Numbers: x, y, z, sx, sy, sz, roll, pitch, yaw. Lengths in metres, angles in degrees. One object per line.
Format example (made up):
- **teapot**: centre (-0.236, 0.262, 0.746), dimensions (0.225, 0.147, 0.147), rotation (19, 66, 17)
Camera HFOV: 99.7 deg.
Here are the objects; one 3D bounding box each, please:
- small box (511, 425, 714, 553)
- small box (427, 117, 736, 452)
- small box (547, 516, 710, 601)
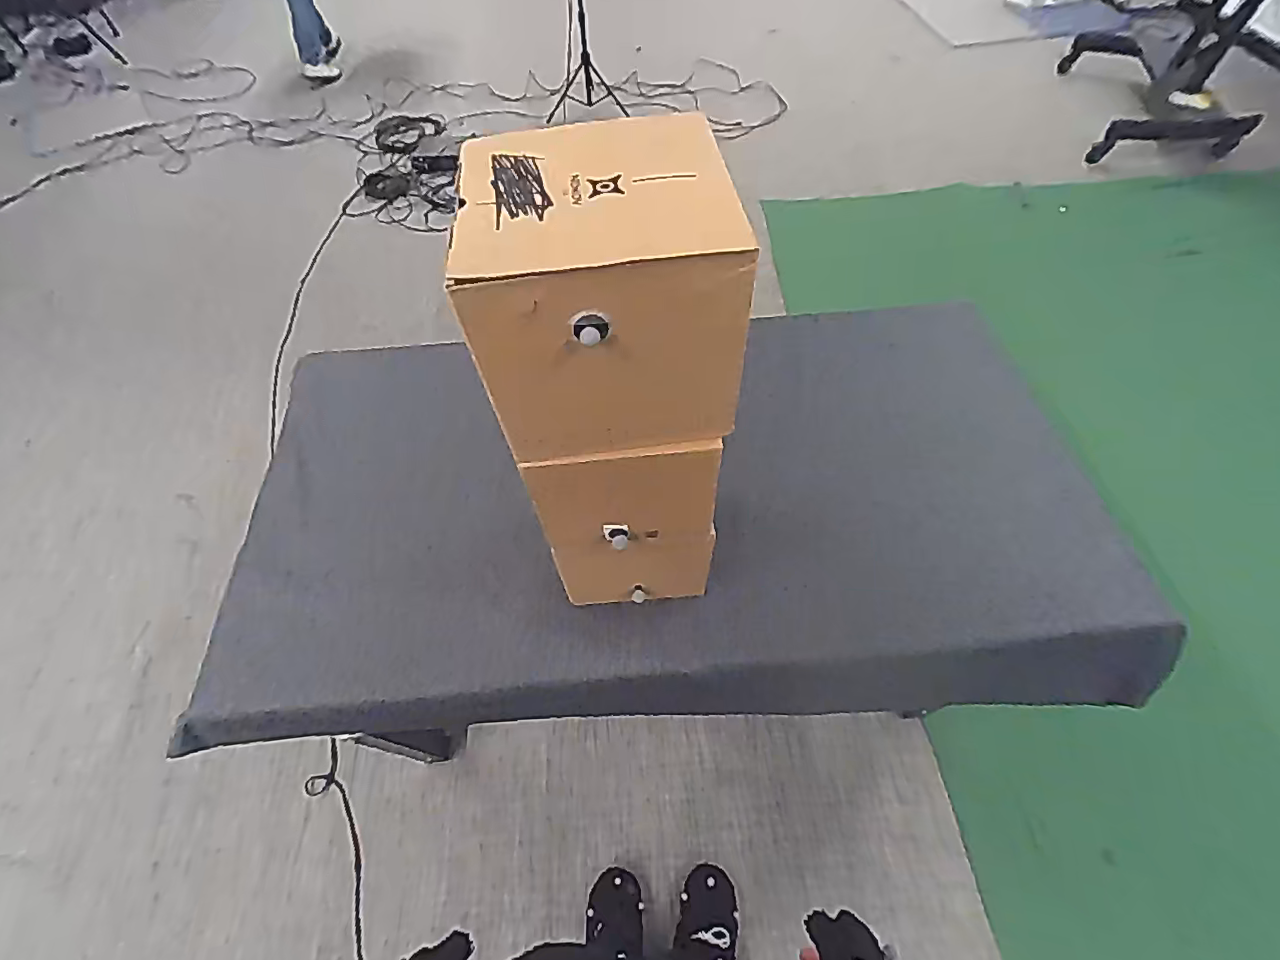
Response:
- **small box**: centre (-0.023, -0.045, 0.542), dimensions (0.168, 0.176, 0.179), rotation (-6, 58, 1)
- **small box**: centre (-0.034, -0.136, 0.405), dimensions (0.179, 0.176, 0.168), rotation (-7, 57, -1)
- **small box**: centre (-0.015, 0.043, 0.679), dimensions (0.179, 0.176, 0.168), rotation (-4, 57, -1)
